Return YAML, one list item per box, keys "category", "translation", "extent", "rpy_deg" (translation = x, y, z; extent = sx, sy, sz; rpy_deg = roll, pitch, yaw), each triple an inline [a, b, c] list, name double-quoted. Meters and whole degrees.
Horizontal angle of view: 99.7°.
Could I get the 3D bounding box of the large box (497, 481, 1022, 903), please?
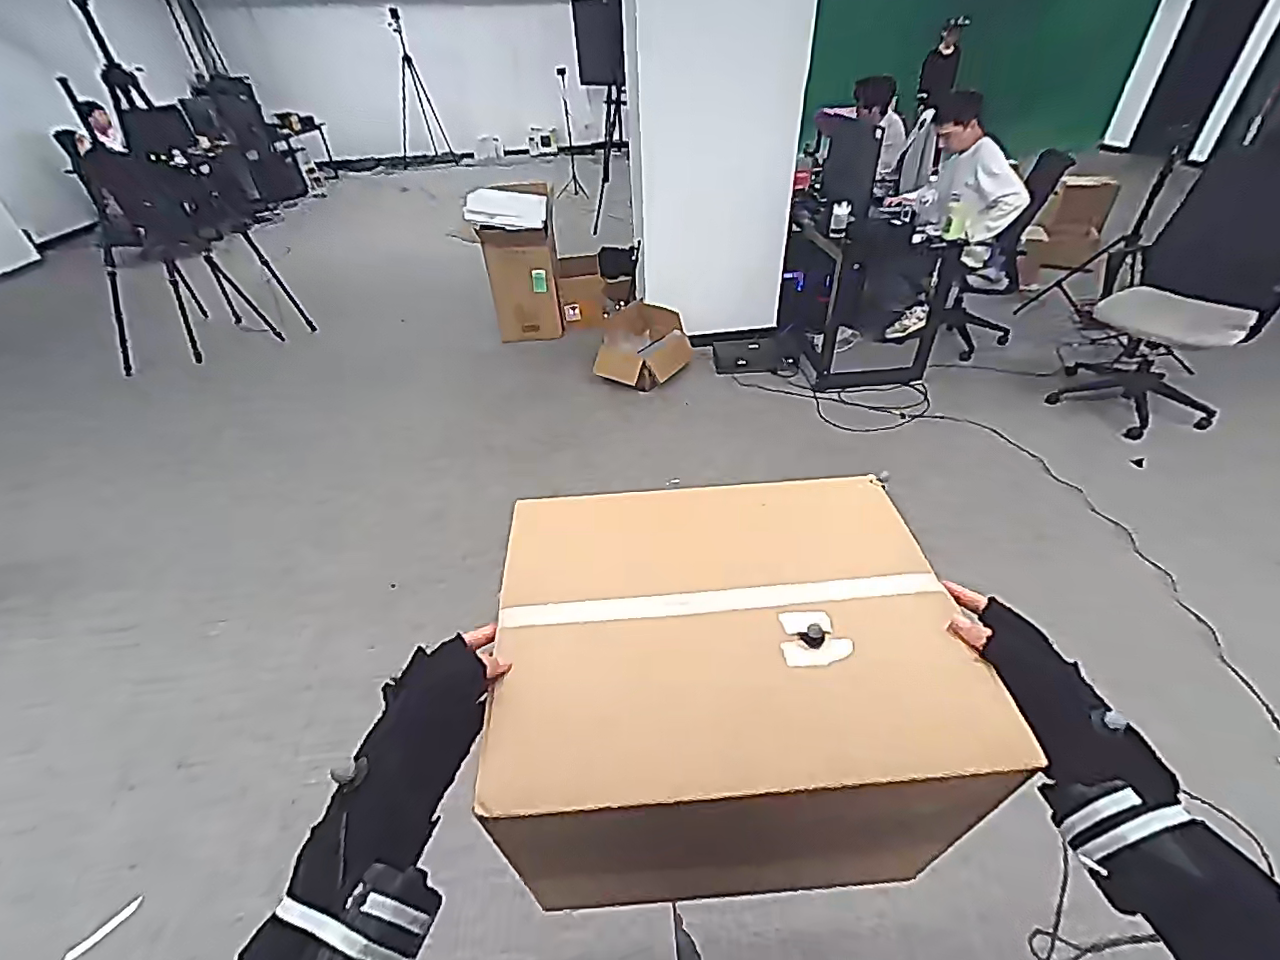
- category: "large box"
  translation: [0.083, 0.228, 0.604]
  extent: [0.408, 0.320, 0.320]
  rpy_deg: [-4, 42, -2]
